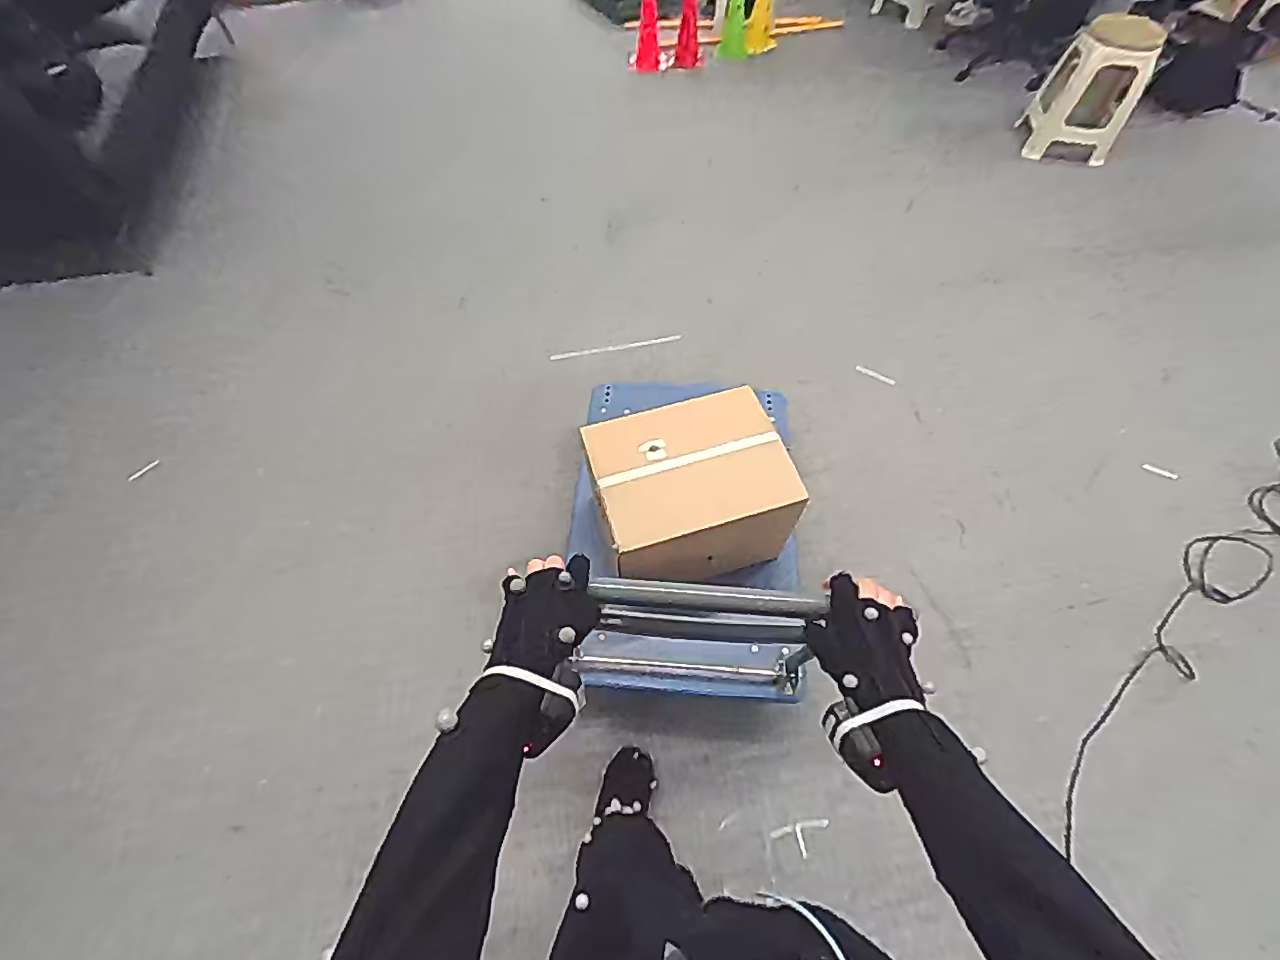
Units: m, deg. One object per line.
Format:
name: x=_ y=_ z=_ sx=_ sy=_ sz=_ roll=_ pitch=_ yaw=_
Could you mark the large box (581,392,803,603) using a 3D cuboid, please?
large box: x=0.108 y=0.050 z=1.280 sx=0.408 sy=0.320 sz=0.320 roll=-16 pitch=60 yaw=-8
